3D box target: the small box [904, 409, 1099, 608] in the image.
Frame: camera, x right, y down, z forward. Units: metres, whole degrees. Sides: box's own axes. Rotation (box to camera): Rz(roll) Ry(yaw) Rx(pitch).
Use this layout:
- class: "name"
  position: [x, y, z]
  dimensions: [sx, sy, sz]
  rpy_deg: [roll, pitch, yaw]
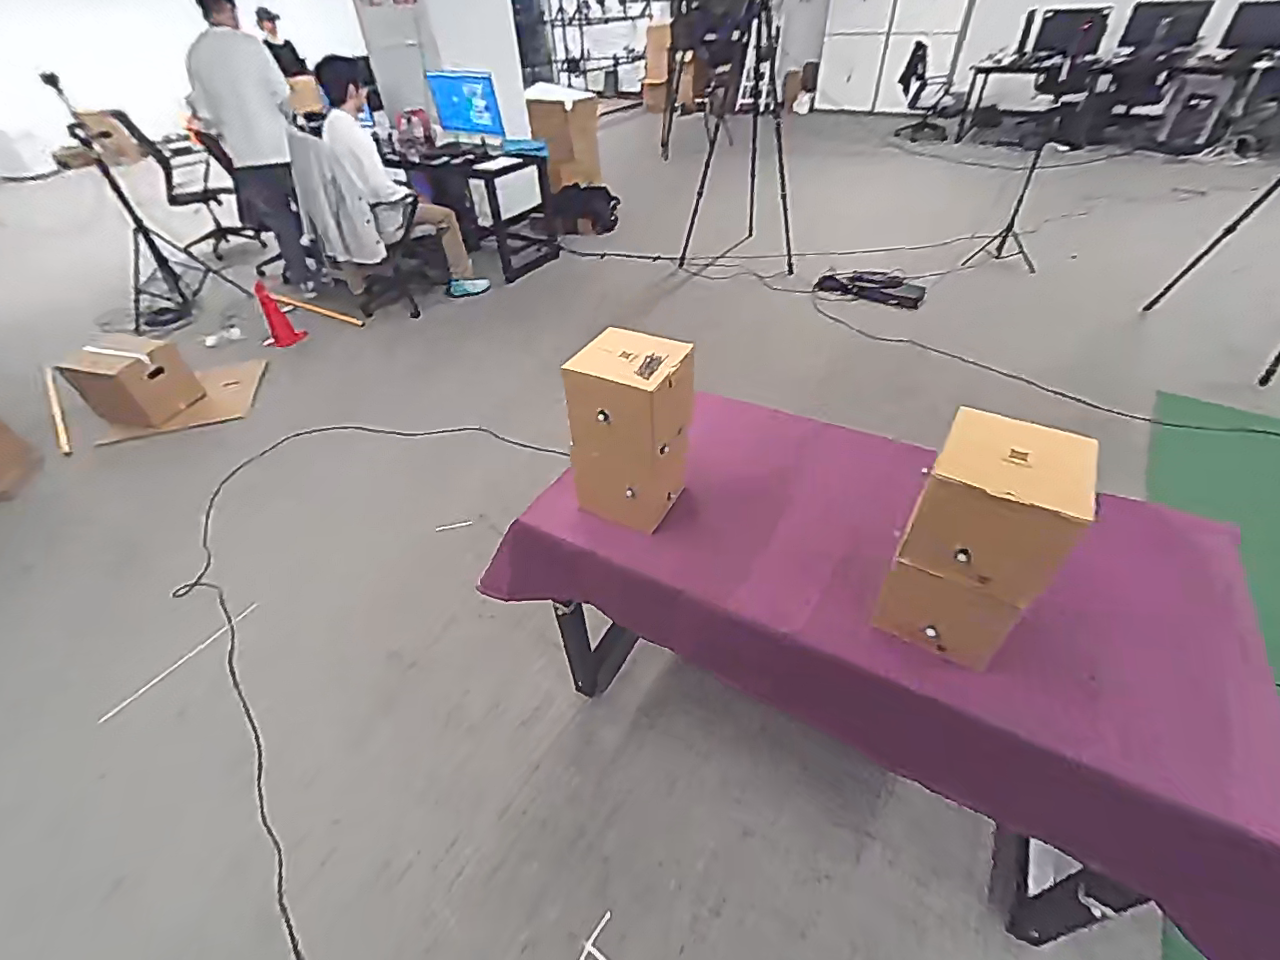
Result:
- class: "small box"
  position: [0.481, 0.036, 0.735]
  dimensions: [0.168, 0.176, 0.179]
  rpy_deg: [22, 49, 26]

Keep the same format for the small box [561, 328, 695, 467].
- class: "small box"
  position: [-0.015, -0.146, 0.968]
  dimensions: [0.179, 0.176, 0.168]
  rpy_deg: [18, 46, 22]

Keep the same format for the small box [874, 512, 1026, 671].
- class: "small box"
  position: [0.485, 0.156, 0.845]
  dimensions: [0.168, 0.176, 0.179]
  rpy_deg: [22, 48, 26]
